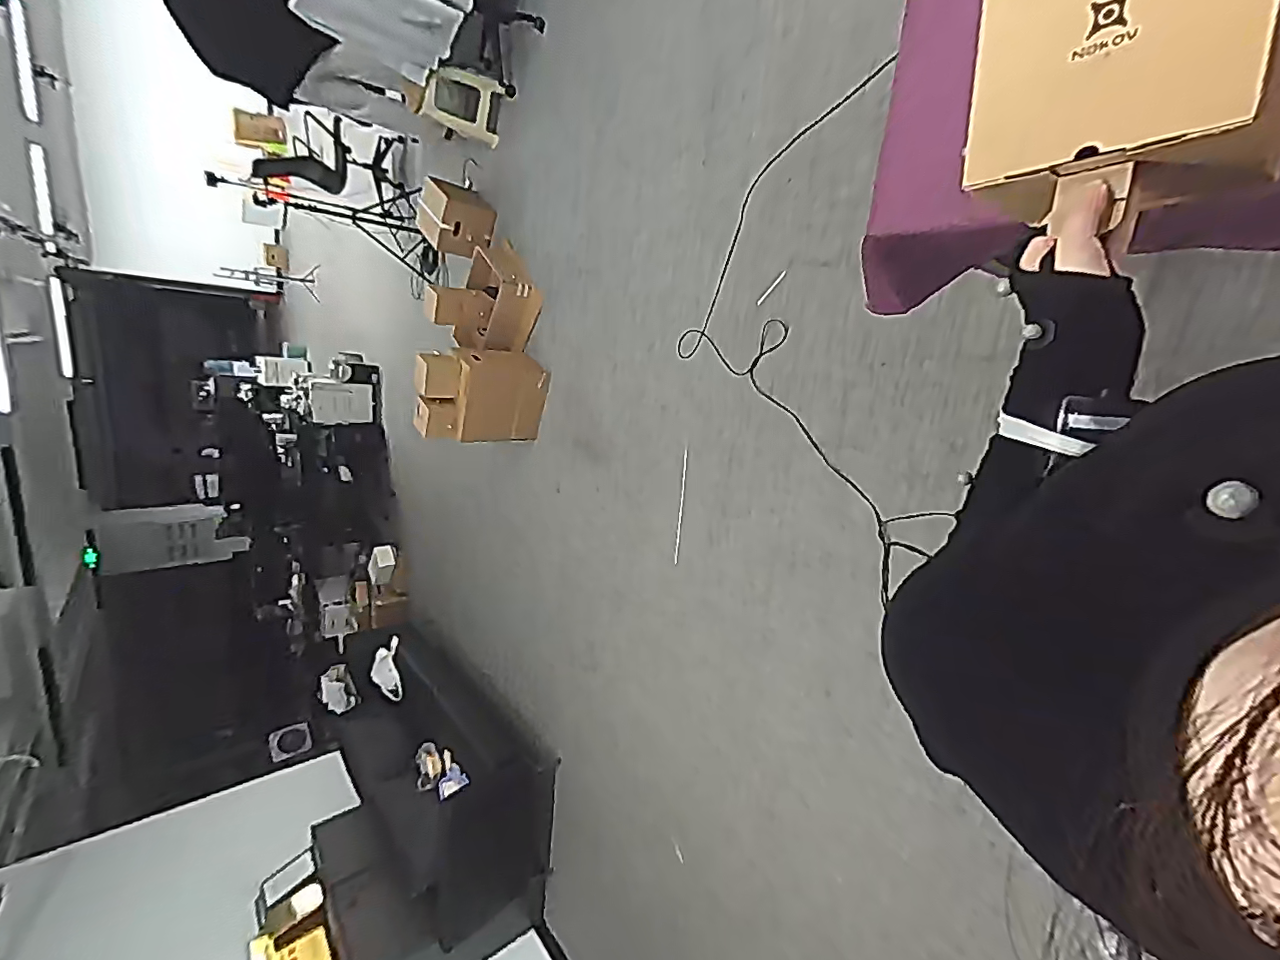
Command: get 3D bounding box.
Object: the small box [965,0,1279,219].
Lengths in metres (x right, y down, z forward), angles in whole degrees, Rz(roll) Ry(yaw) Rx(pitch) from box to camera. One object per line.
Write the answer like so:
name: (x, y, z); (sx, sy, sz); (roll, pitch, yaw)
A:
small box: (0.393, -0.331, 0.434); (0.168, 0.176, 0.179); (15, 109, 50)
